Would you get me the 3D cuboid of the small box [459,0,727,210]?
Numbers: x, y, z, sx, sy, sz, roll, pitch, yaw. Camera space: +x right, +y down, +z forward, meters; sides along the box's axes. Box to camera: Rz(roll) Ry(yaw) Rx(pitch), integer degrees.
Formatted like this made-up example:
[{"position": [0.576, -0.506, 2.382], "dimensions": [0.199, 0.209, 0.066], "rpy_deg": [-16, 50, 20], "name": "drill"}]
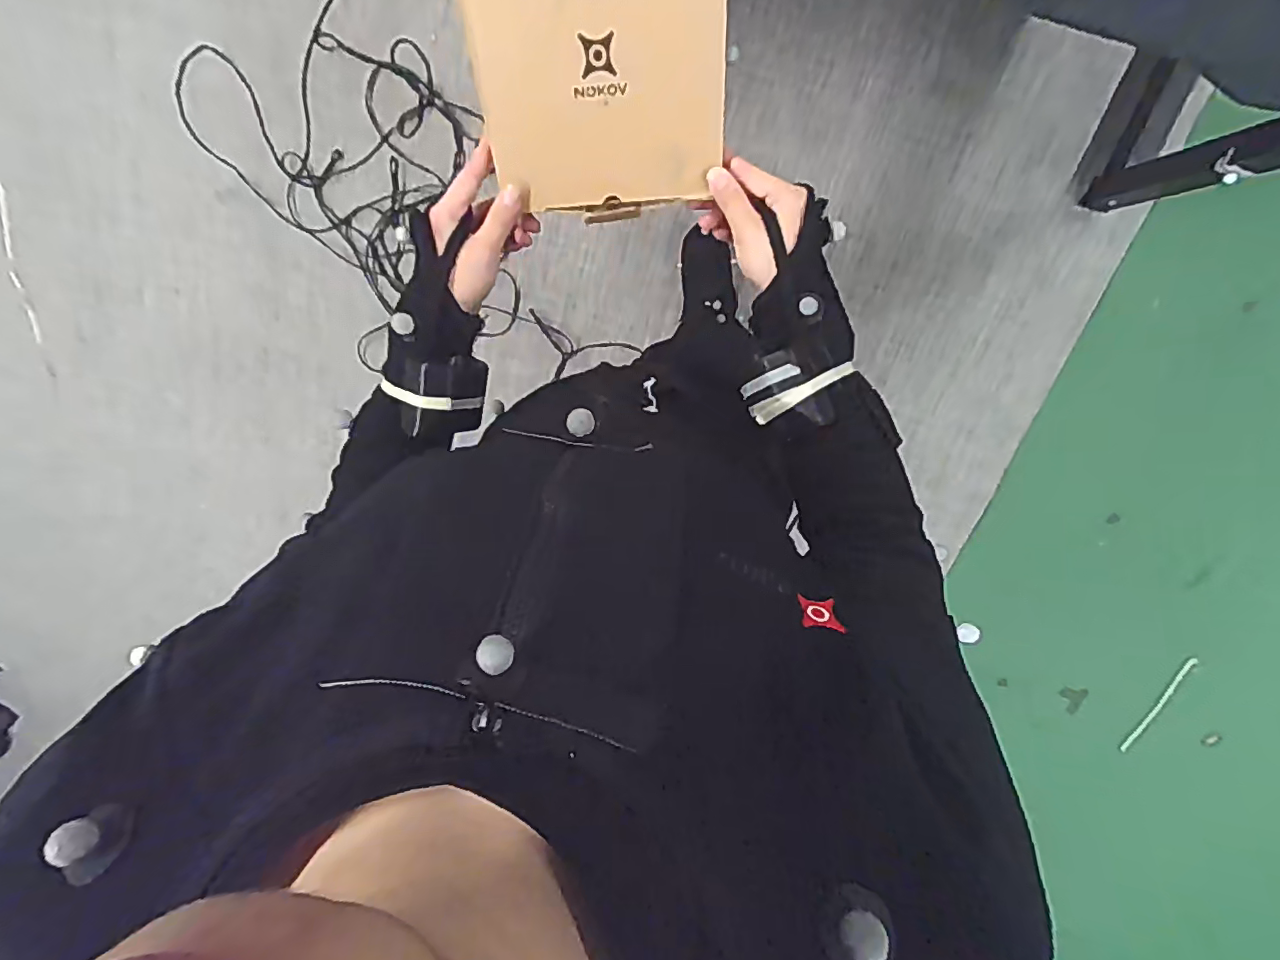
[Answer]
[{"position": [-0.027, -0.324, 0.405], "dimensions": [0.168, 0.176, 0.179], "rpy_deg": [-4, 131, 3], "name": "small box"}]
